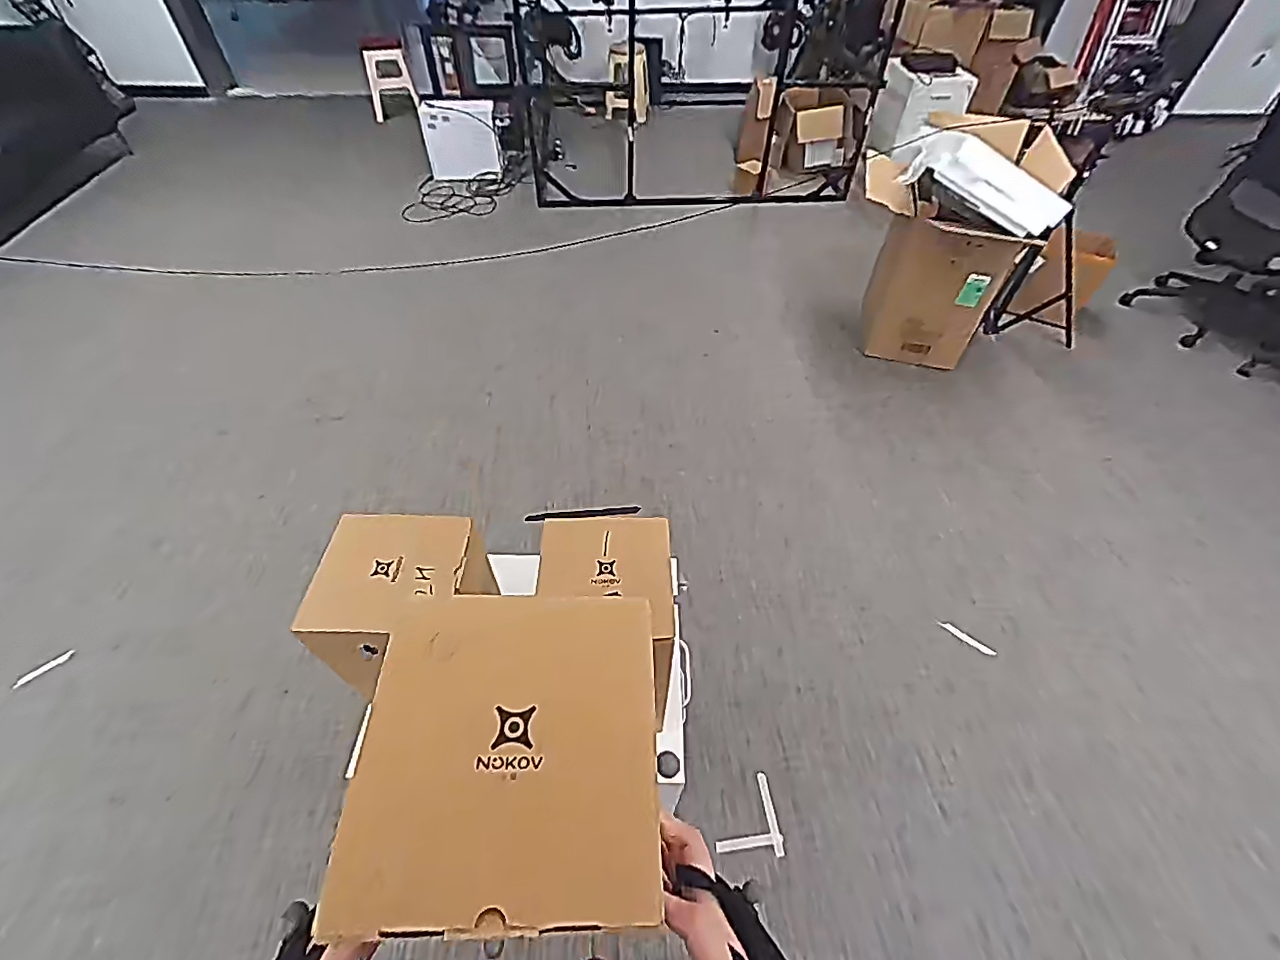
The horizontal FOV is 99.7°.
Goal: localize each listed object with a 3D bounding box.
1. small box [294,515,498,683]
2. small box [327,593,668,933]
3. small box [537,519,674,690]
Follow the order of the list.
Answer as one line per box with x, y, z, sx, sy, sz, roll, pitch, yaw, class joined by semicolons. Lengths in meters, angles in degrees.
-0.303;0.162;0.718;0.179;0.176;0.168;2;50;0;small box
-0.075;0.195;0.372;0.168;0.176;0.179;1;53;-4;small box
-0.041;0.170;0.719;0.168;0.176;0.179;0;49;-1;small box
